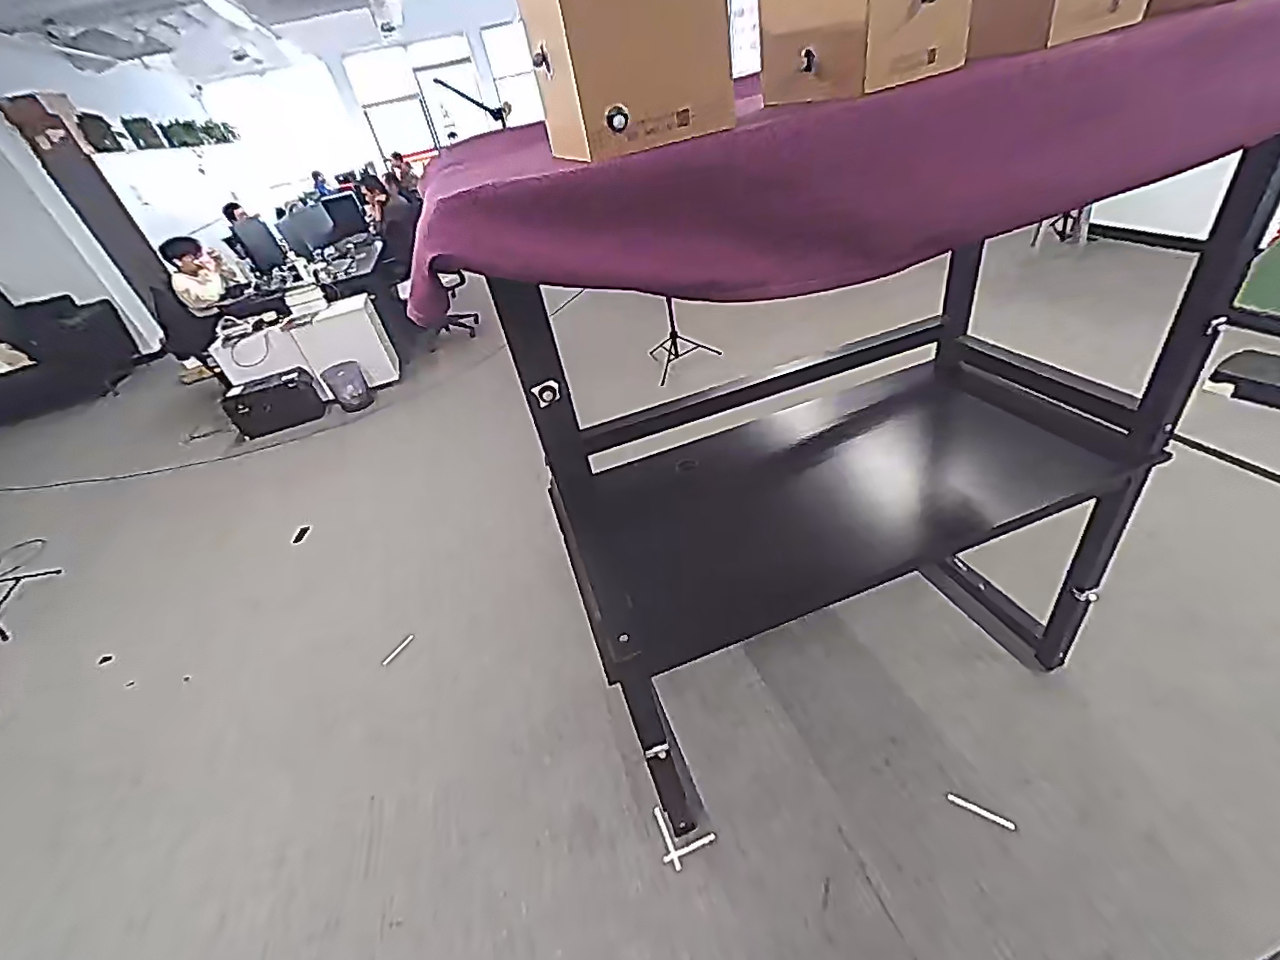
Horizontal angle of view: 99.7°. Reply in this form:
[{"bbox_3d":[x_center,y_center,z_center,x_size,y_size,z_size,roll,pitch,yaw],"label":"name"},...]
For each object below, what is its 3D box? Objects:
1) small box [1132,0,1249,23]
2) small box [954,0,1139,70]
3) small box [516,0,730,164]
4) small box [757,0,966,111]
[{"bbox_3d":[0.758,-0.727,0.713,0.168,0.176,0.179,-24,36,-14],"label":"small box"},{"bbox_3d":[0.508,-0.646,0.686,0.168,0.176,0.179,-21,36,-12],"label":"small box"},{"bbox_3d":[-0.017,-0.449,0.576,0.168,0.176,0.179,-21,35,-11],"label":"small box"},{"bbox_3d":[0.259,-0.553,0.635,0.168,0.176,0.179,-26,38,-17],"label":"small box"}]
